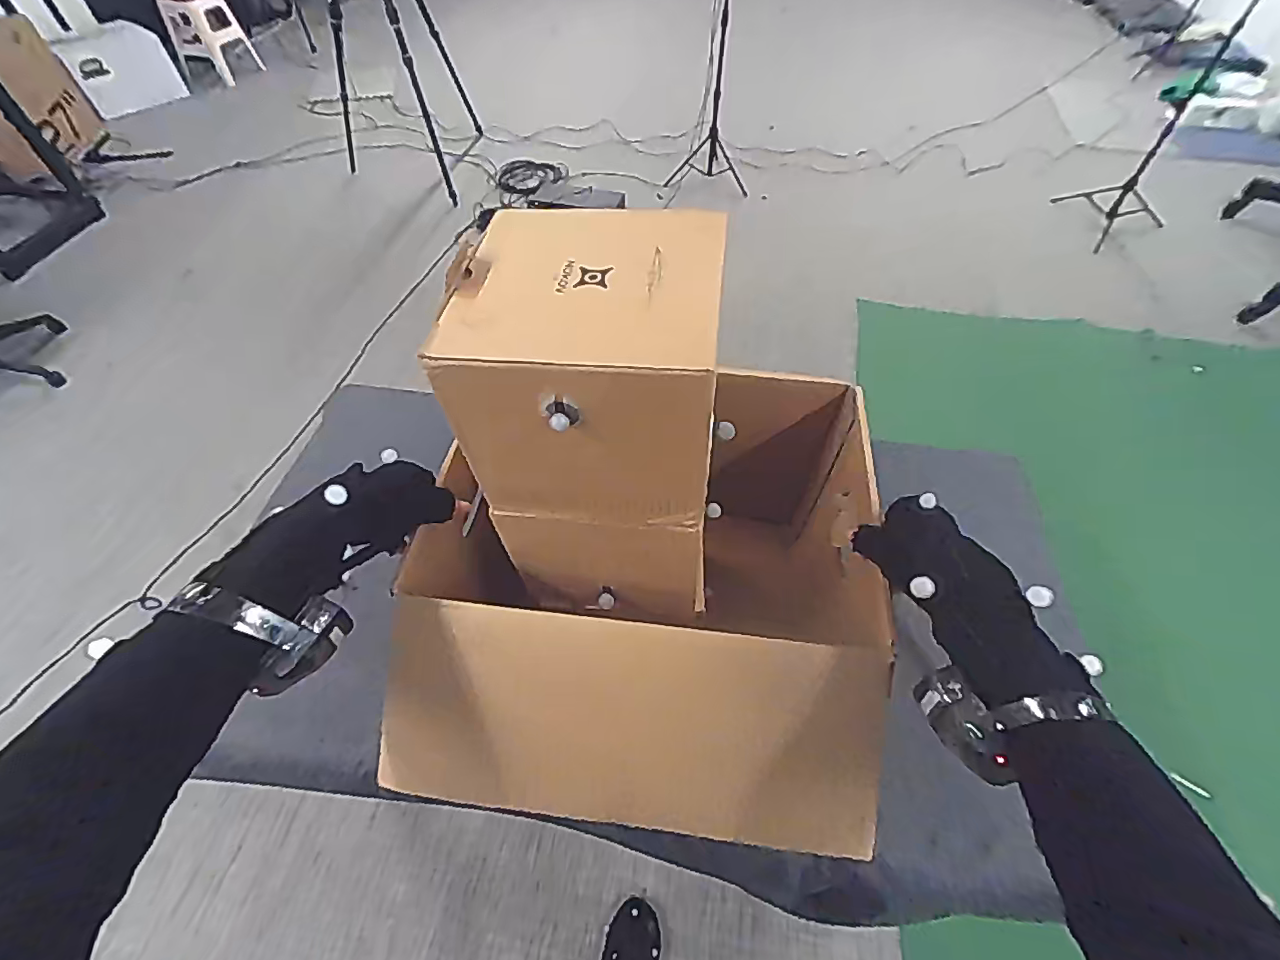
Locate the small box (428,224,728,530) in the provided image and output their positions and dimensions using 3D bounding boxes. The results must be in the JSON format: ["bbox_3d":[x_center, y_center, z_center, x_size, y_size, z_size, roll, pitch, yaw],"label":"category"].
[{"bbox_3d":[-0.027,-0.074,0.419,0.179,0.176,0.168,4,55,6],"label":"small box"}]
